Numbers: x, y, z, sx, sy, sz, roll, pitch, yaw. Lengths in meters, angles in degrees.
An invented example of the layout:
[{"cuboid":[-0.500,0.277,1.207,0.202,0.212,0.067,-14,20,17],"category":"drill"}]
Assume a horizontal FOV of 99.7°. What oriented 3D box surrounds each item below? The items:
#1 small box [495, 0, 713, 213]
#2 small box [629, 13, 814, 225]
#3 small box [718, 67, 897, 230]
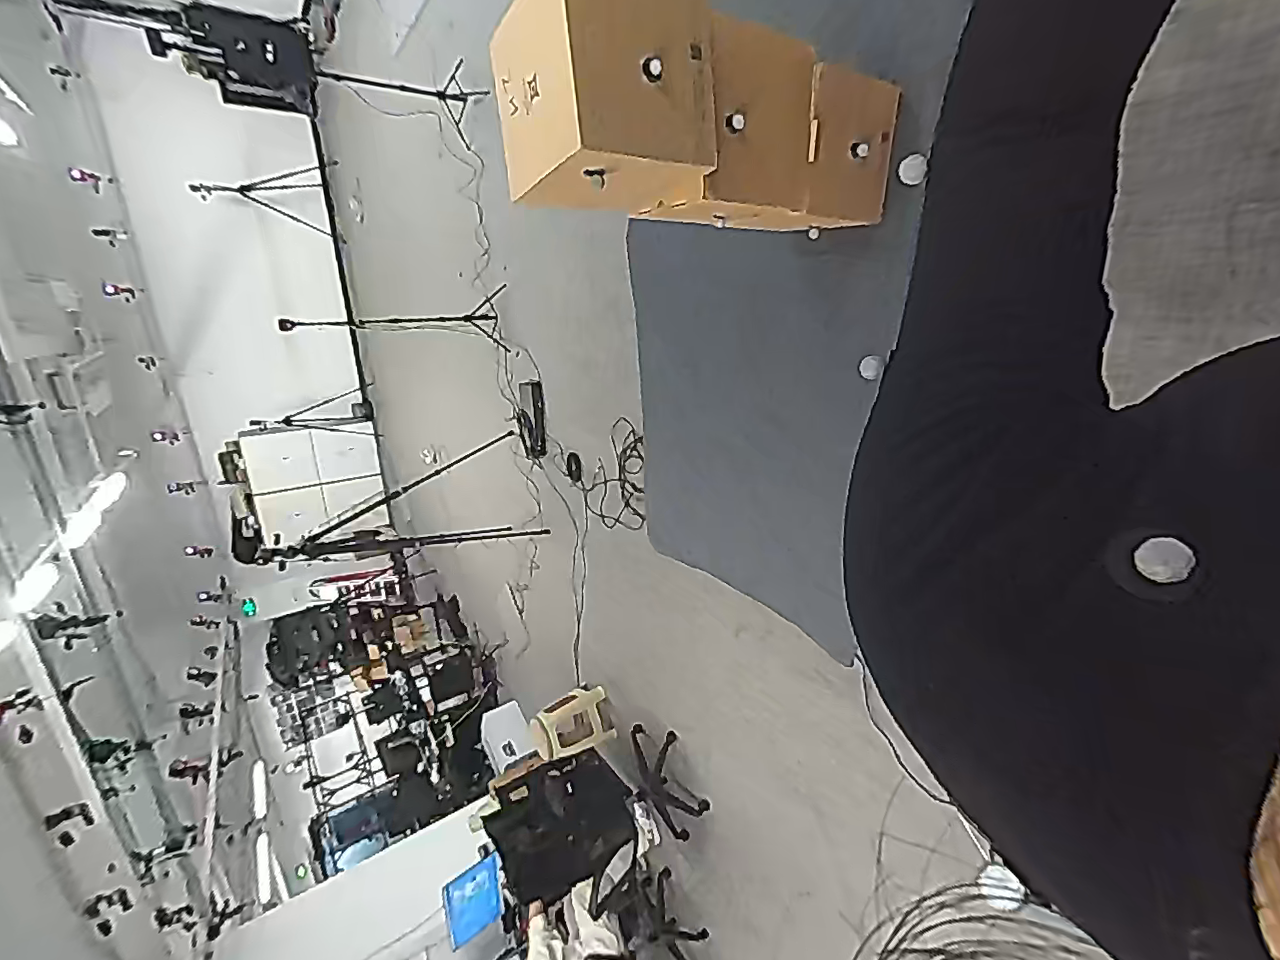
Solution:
[{"cuboid":[-0.034,-0.399,0.580,0.179,0.176,0.168,12,112,56],"category":"small box"},{"cuboid":[0.097,-0.427,0.676,0.168,0.176,0.179,25,122,52],"category":"small box"},{"cuboid":[0.233,-0.450,0.764,0.179,0.176,0.168,27,124,51],"category":"small box"}]
